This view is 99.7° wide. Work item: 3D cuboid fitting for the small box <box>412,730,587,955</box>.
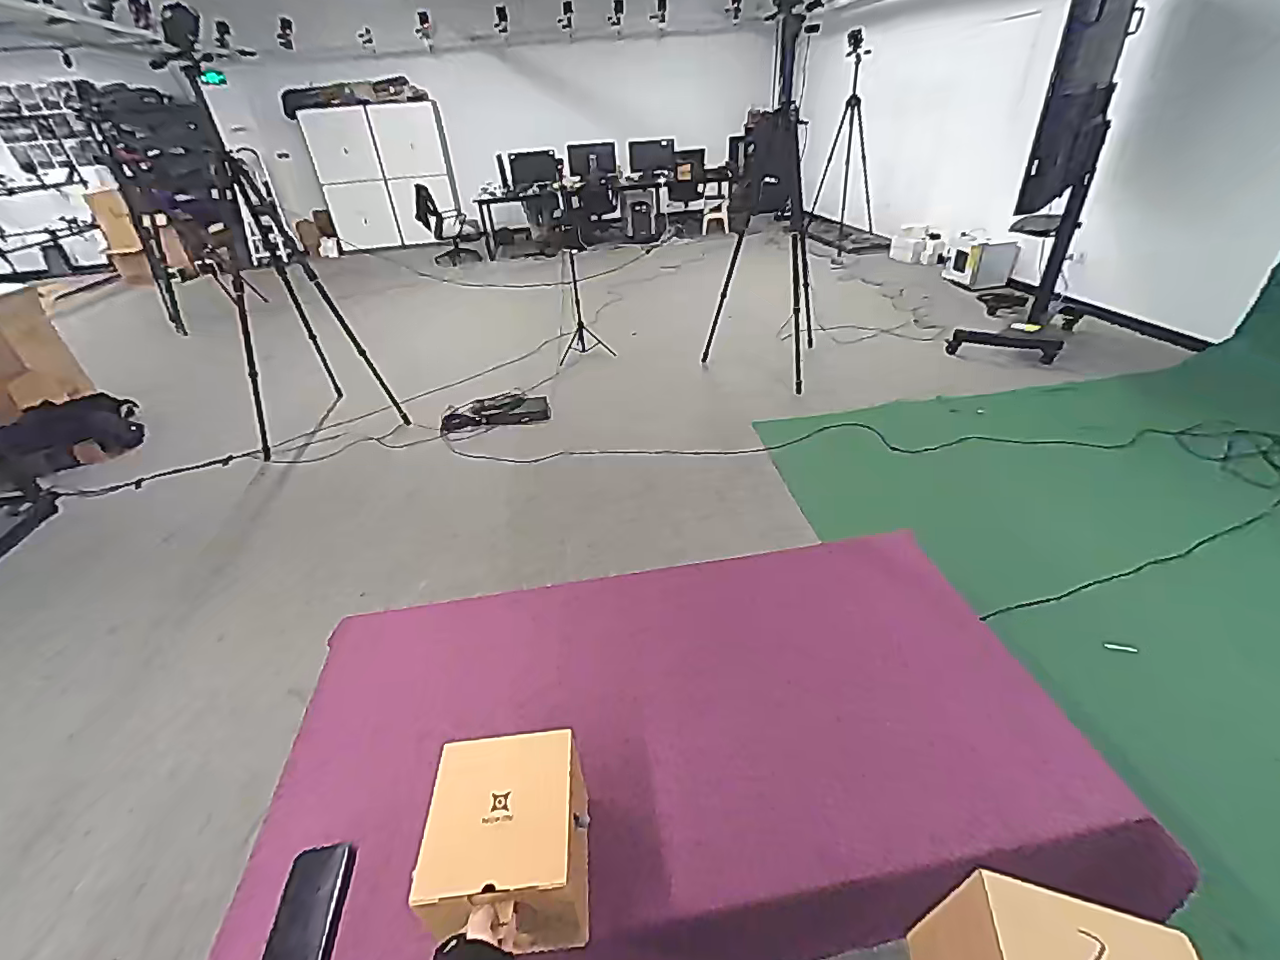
[{"bbox_3d":[-0.157,0.443,0.669,0.168,0.176,0.179,-5,34,-2],"label":"small box"}]
